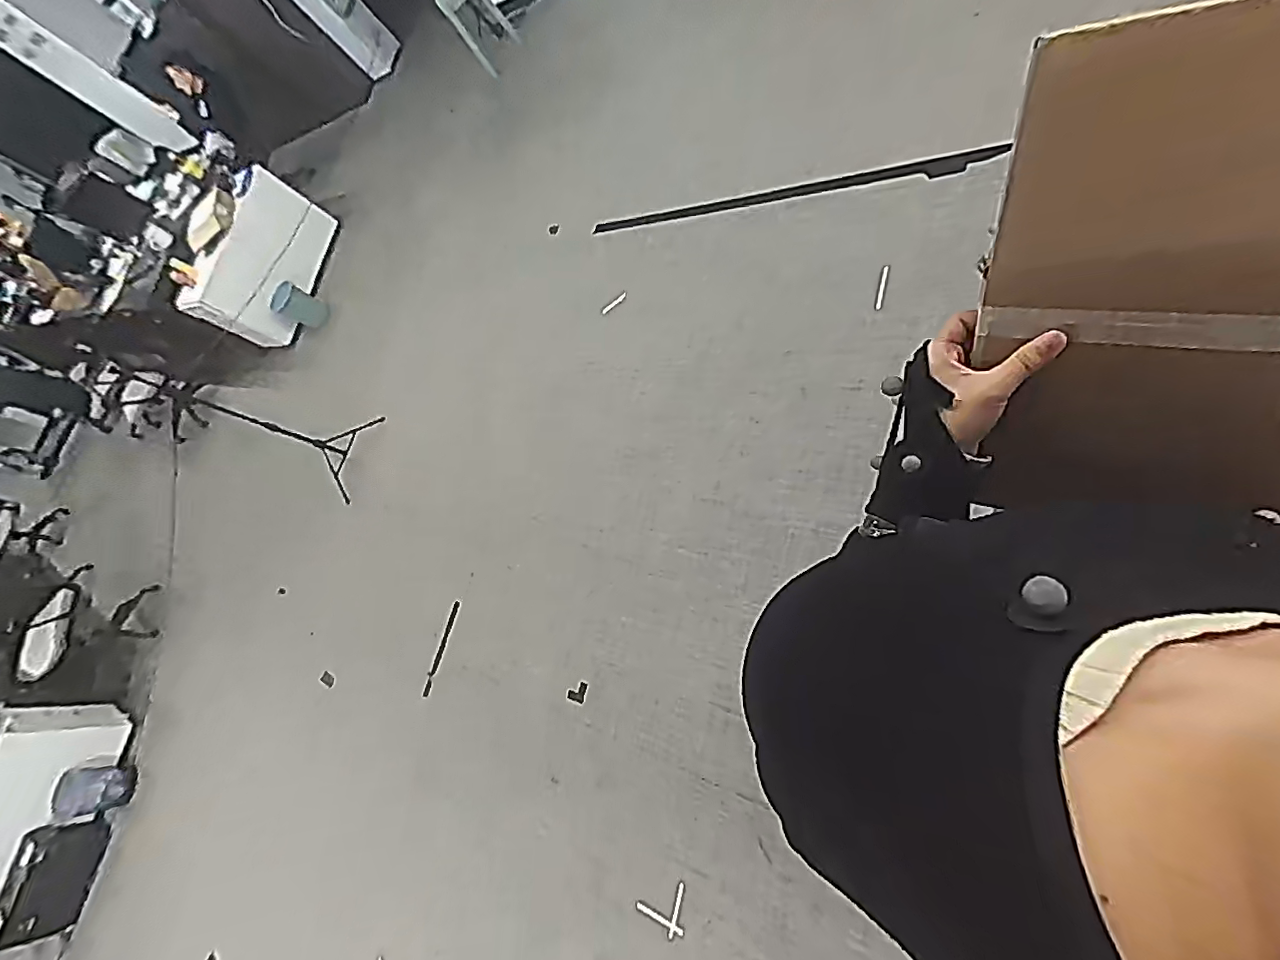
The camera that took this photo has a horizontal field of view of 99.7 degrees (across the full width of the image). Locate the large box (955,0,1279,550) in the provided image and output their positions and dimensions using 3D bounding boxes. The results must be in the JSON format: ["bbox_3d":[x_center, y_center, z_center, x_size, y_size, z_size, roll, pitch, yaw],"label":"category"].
[{"bbox_3d":[0.474,-0.156,0.358,0.408,0.320,0.320,13,39,31],"label":"large box"}]
